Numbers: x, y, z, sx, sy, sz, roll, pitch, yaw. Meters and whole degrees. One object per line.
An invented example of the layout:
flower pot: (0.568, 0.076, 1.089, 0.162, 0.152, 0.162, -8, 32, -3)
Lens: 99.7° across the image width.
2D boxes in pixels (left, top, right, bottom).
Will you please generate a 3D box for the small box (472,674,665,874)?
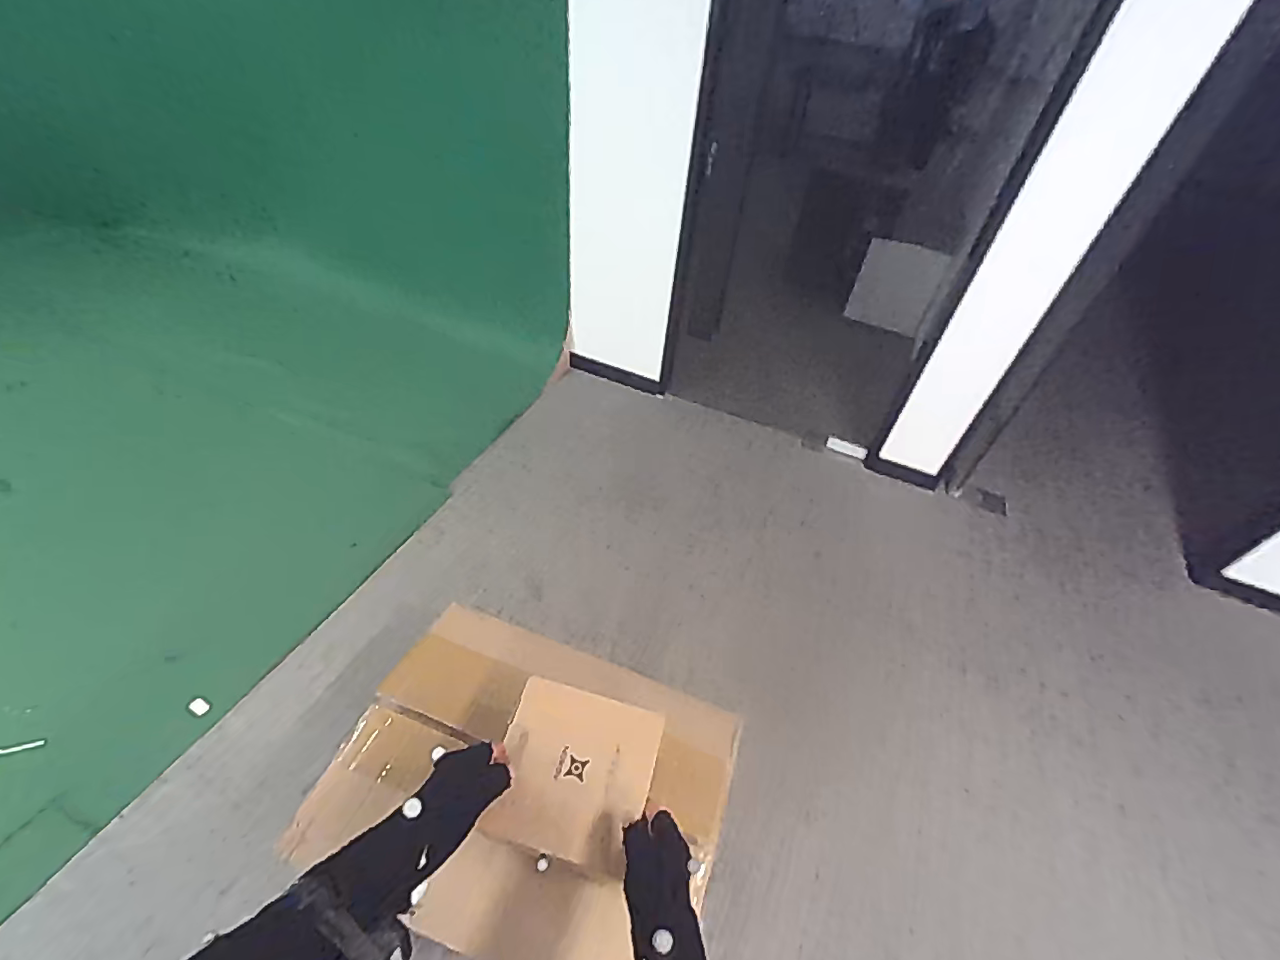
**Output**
small box: (-0.079, 0.366, 0.667, 0.179, 0.176, 0.168, 14, 53, 6)
